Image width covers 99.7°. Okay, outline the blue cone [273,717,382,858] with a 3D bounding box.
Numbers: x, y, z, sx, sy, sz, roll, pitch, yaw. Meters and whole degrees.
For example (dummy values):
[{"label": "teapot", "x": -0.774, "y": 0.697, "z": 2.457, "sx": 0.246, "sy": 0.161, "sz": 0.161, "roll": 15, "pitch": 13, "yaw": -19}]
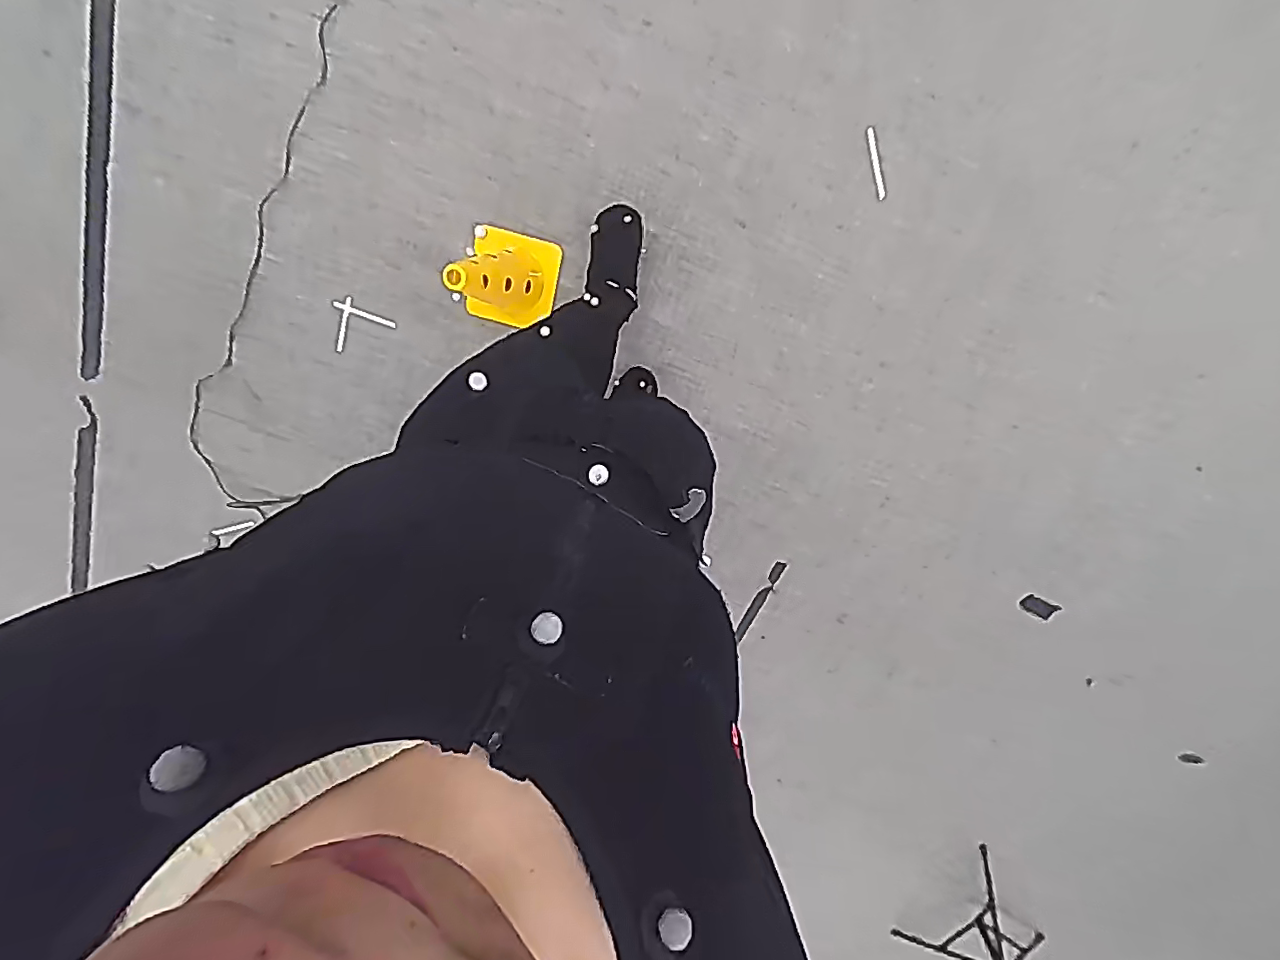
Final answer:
[{"label": "blue cone", "x": -0.942, "y": 0.906, "z": 1.583, "sx": 0.192, "sy": 0.380, "sz": 0.193, "roll": 22, "pitch": 110, "yaw": -5}]
